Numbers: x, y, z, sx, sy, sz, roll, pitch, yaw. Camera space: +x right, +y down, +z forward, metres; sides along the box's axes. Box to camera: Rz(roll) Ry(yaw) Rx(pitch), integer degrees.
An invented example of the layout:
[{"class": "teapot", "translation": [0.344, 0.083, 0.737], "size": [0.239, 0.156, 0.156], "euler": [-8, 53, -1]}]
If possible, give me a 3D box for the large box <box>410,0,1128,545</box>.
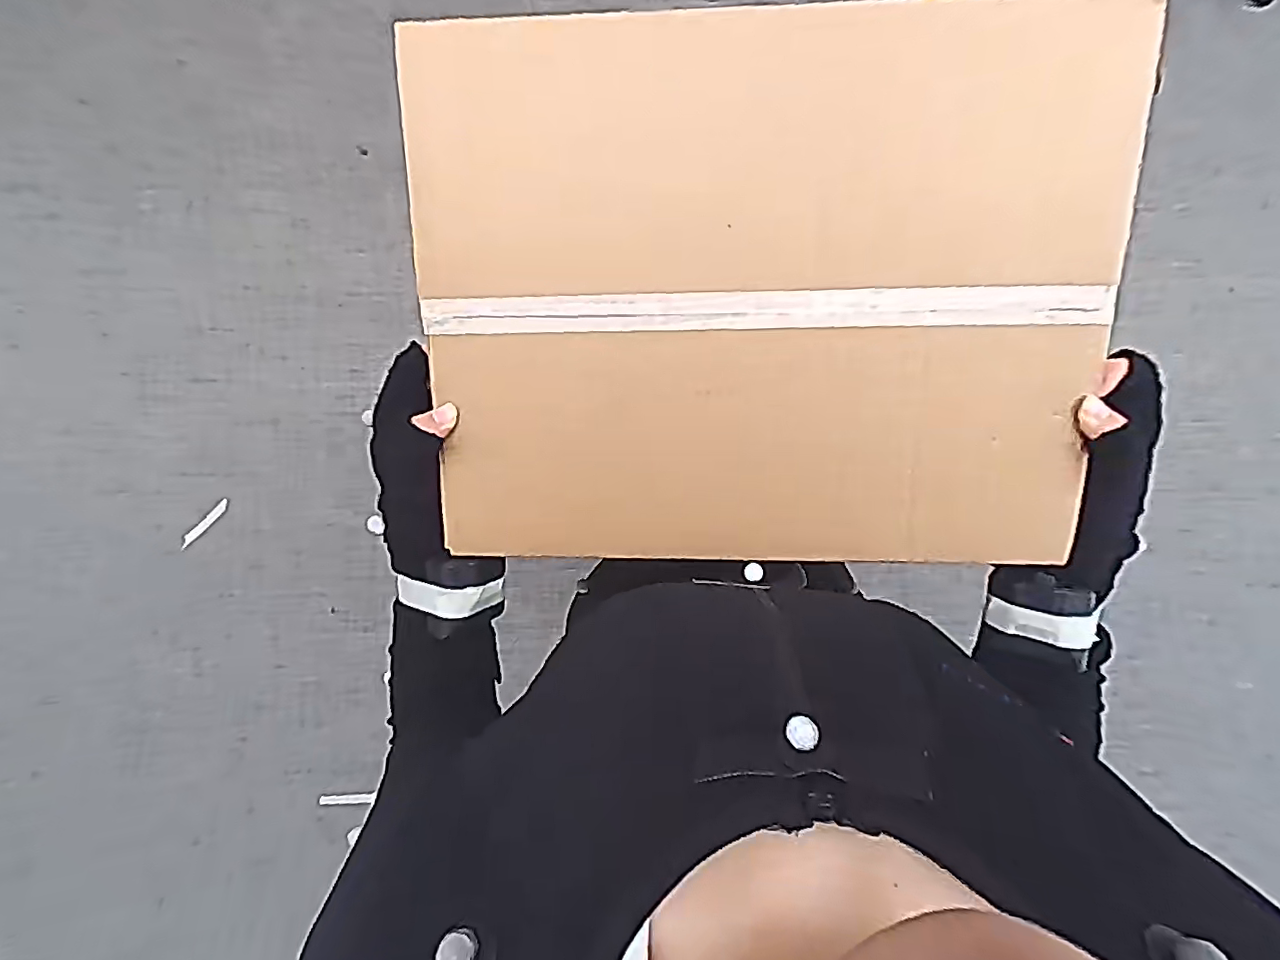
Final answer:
[{"class": "large box", "translation": [0.074, -0.139, 0.477], "size": [0.408, 0.320, 0.320], "euler": [0, 104, 3]}]
